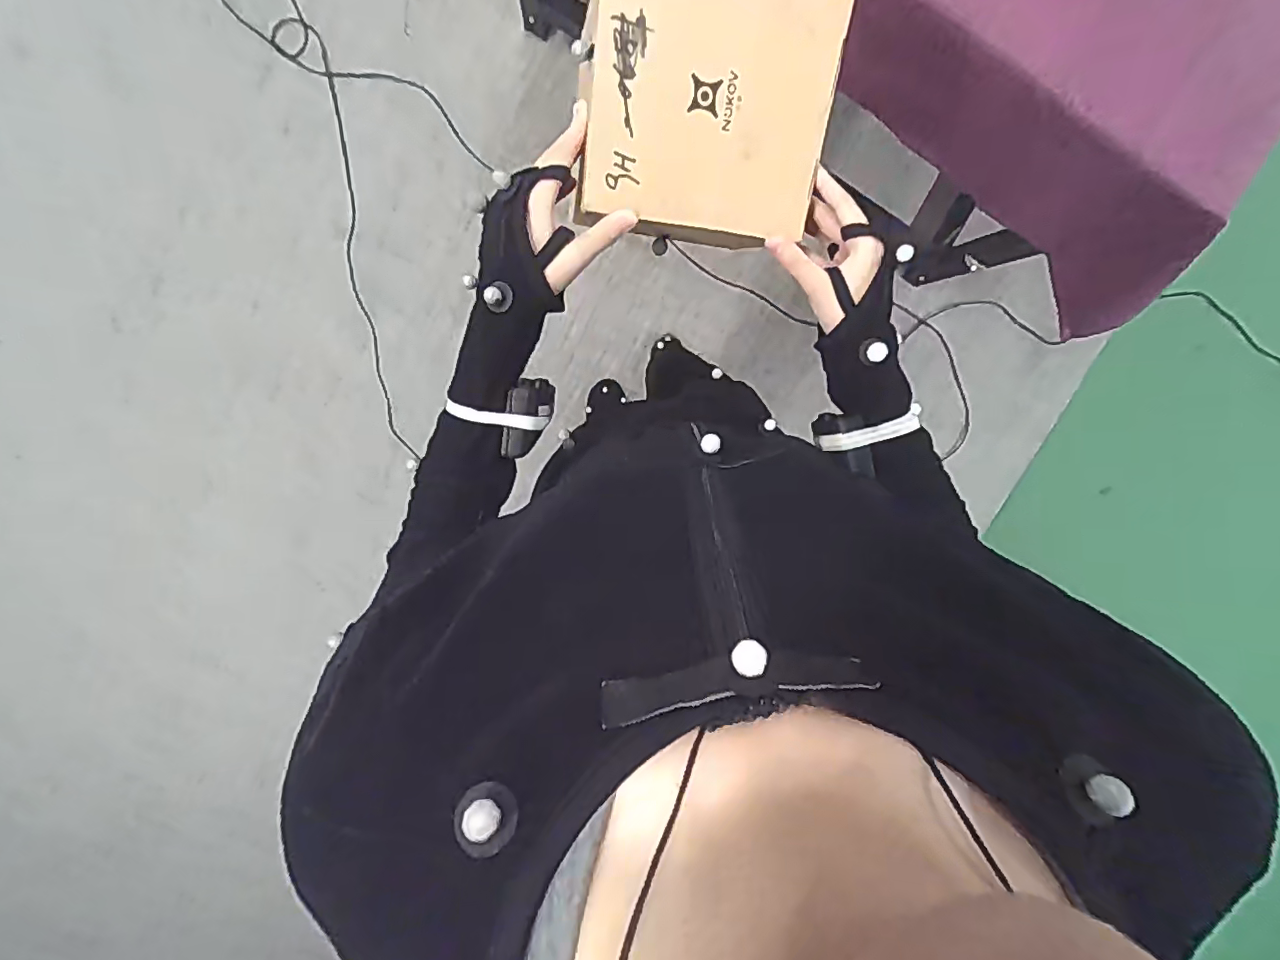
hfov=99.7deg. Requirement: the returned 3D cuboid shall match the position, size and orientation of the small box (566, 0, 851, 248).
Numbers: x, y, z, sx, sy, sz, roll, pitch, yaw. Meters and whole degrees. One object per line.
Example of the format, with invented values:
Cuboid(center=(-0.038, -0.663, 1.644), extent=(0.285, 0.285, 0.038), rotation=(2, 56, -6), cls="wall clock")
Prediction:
Cuboid(center=(0.037, -0.297, 0.455), extent=(0.179, 0.176, 0.168), rotation=(4, 110, -13), cls="small box")
